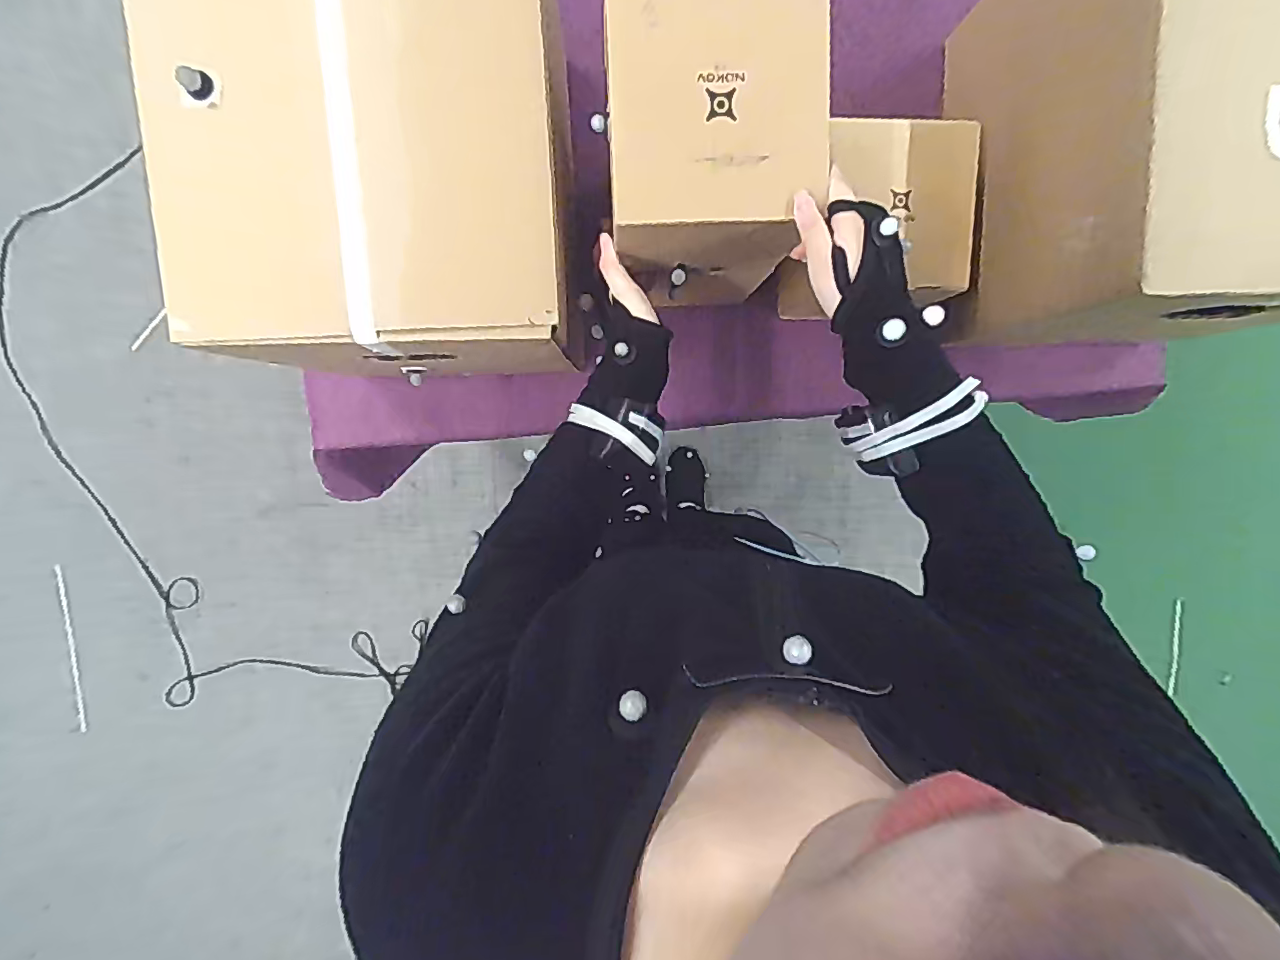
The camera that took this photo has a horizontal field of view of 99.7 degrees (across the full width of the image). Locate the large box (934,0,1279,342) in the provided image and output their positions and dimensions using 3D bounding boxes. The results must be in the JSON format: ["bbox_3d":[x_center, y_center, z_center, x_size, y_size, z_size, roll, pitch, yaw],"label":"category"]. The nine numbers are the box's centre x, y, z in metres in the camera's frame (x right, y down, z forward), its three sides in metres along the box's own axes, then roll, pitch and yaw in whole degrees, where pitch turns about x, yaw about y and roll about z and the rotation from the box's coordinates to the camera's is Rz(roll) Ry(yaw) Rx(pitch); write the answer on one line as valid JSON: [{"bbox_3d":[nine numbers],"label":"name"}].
[{"bbox_3d":[0.566,-0.379,0.603,0.320,0.320,0.408,-1,97,-2],"label":"large box"}]
